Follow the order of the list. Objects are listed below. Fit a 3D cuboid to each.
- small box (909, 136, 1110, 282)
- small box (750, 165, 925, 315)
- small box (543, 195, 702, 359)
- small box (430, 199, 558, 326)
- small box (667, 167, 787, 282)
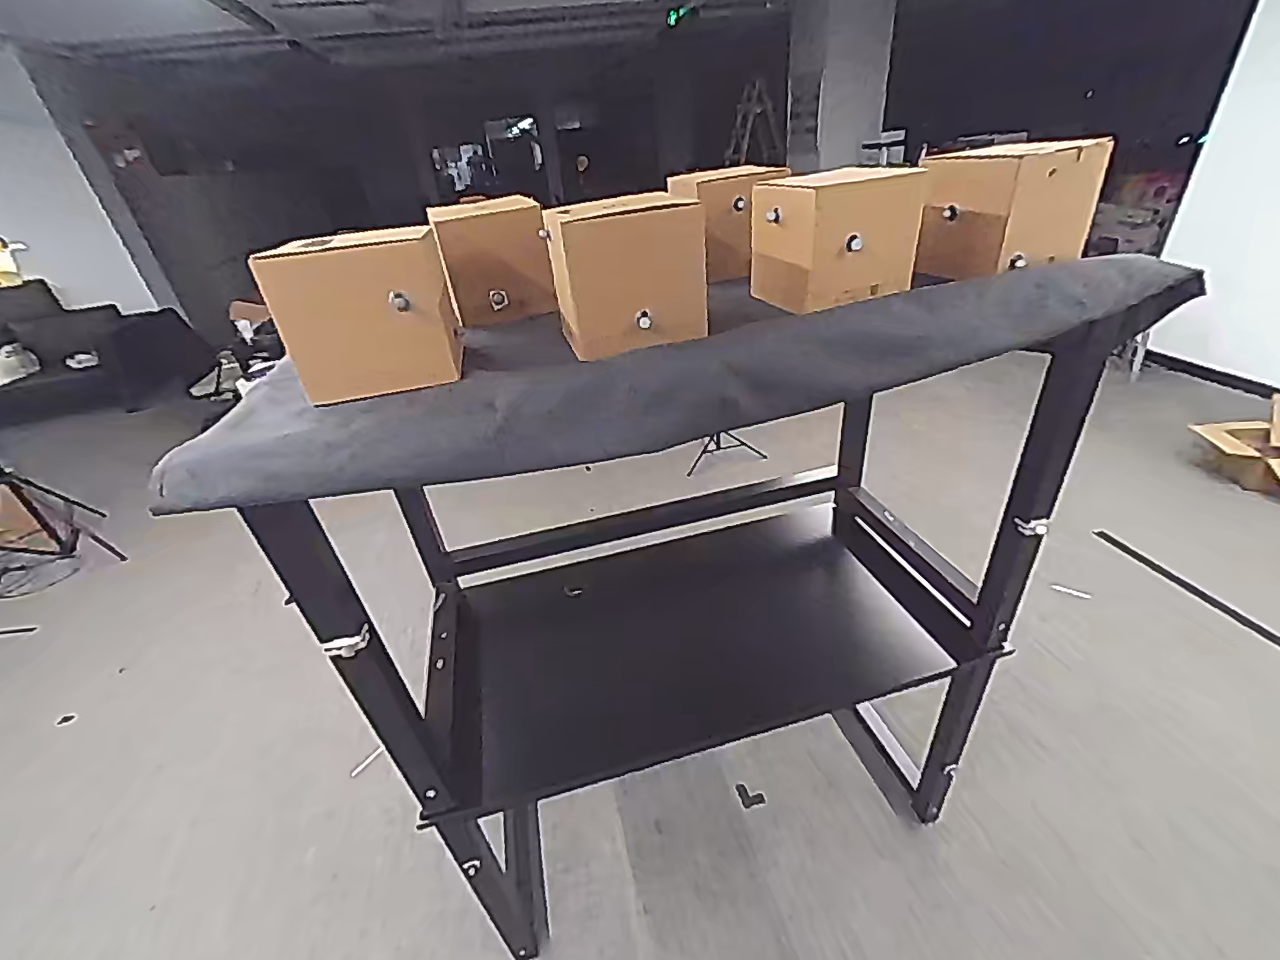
[{"bbox_3d":[0.539,-0.406,0.818,0.168,0.176,0.179,-16,32,-13],"label":"small box"},{"bbox_3d":[0.273,-0.347,0.783,0.168,0.176,0.179,-14,32,-11],"label":"small box"},{"bbox_3d":[-0.024,-0.277,0.729,0.179,0.176,0.168,-13,32,-10],"label":"small box"},{"bbox_3d":[-0.251,-0.374,0.928,0.168,0.176,0.179,-17,34,-14],"label":"small box"},{"bbox_3d":[0.161,-0.480,1.013,0.179,0.176,0.168,-13,33,-9],"label":"small box"}]
